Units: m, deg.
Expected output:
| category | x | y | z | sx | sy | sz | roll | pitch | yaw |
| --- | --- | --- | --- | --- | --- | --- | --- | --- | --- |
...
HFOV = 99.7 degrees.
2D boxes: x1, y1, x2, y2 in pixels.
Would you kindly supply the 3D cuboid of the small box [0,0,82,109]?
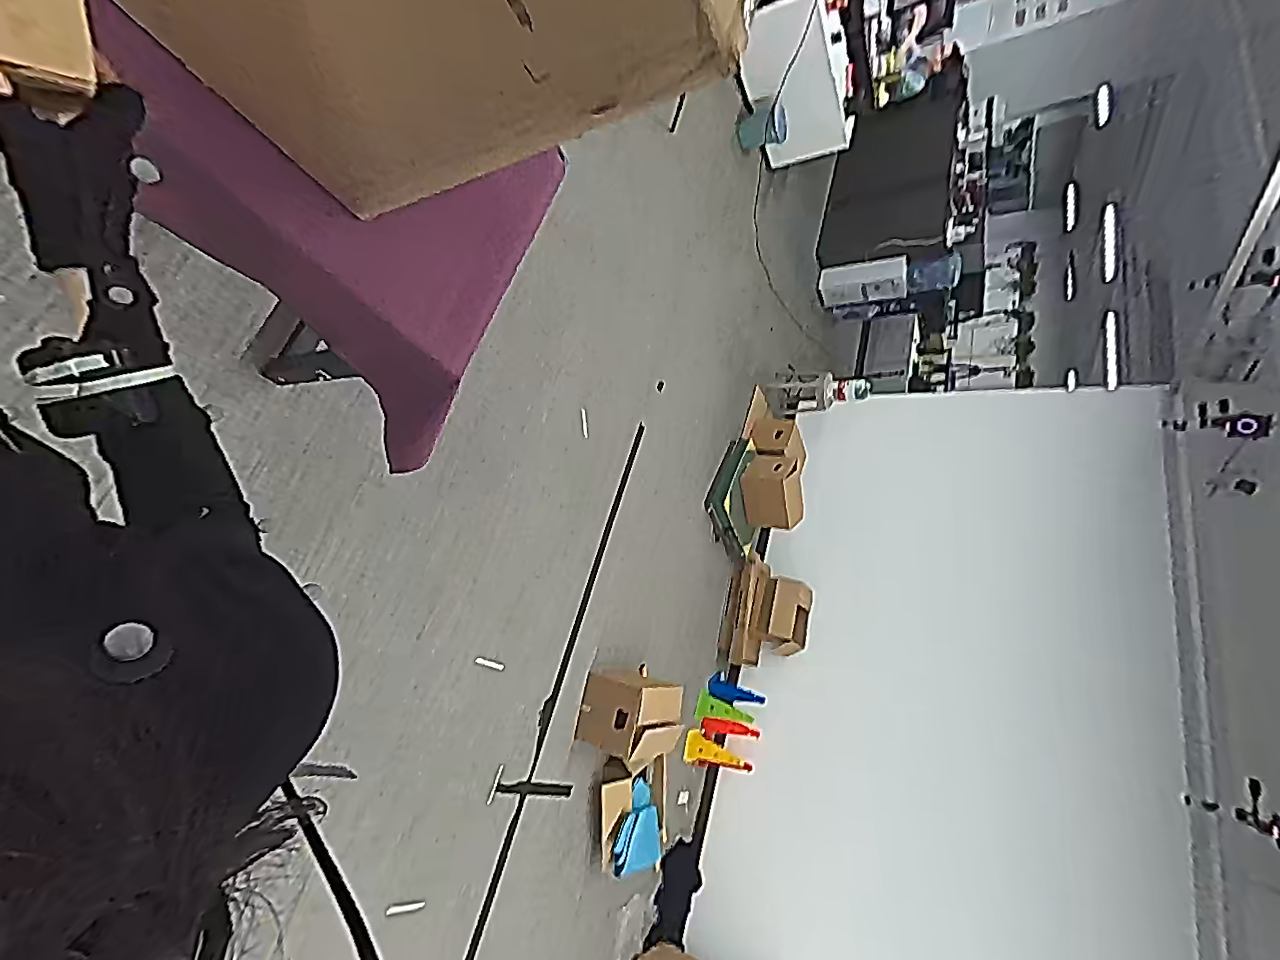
| category | x | y | z | sx | sy | sz | roll | pitch | yaw |
| --- | --- | --- | --- | --- | --- | --- | --- | --- | --- |
| small box | -0.457 | -0.340 | 0.302 | 0.168 | 0.176 | 0.179 | -17 | 116 | -50 |
